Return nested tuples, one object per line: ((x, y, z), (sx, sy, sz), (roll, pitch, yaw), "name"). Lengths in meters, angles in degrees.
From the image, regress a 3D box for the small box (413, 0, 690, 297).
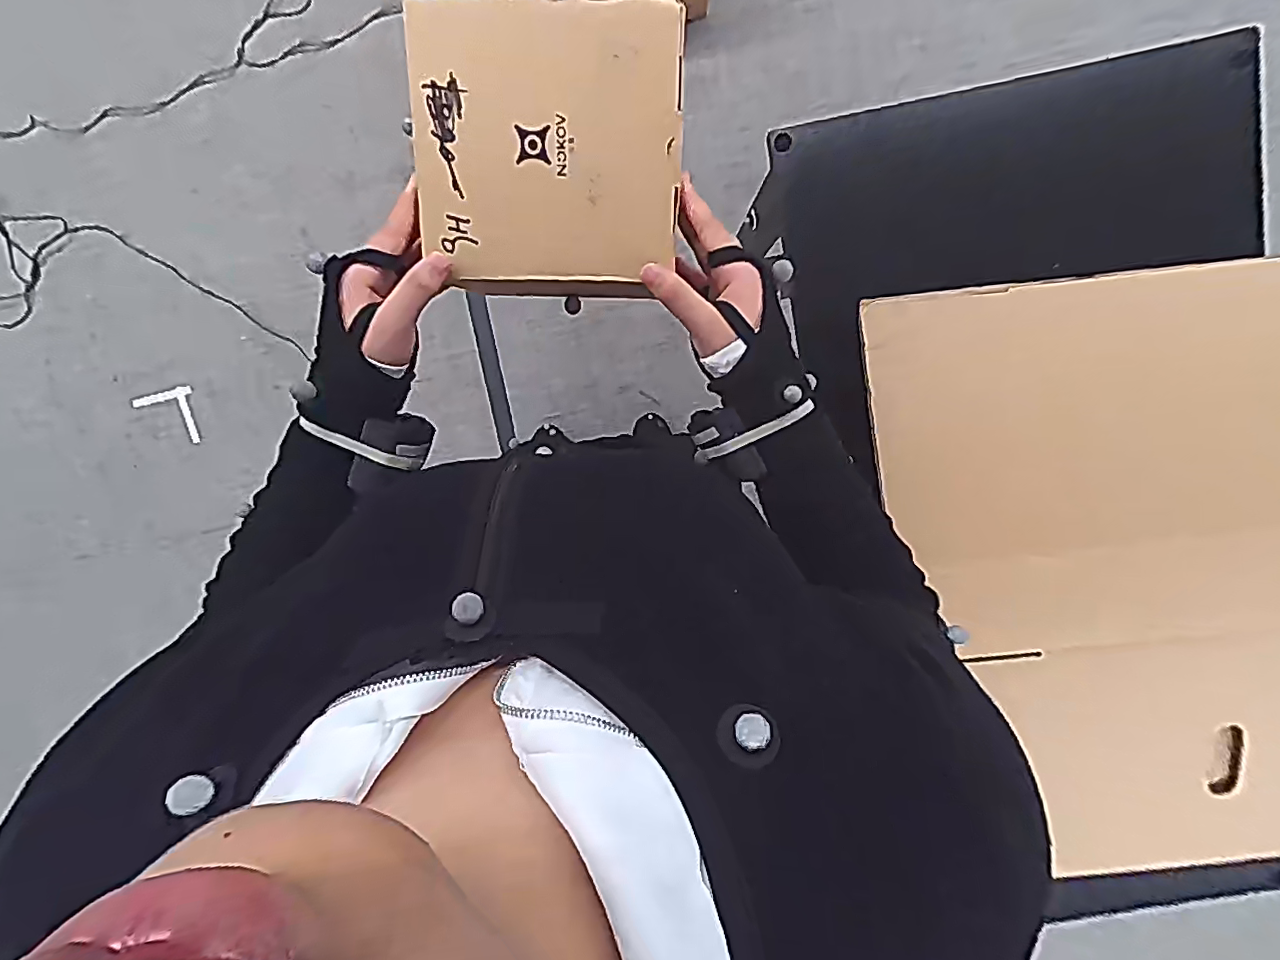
((-0.059, -0.242, 0.435), (0.179, 0.176, 0.168), (1, 104, -1), "small box")
